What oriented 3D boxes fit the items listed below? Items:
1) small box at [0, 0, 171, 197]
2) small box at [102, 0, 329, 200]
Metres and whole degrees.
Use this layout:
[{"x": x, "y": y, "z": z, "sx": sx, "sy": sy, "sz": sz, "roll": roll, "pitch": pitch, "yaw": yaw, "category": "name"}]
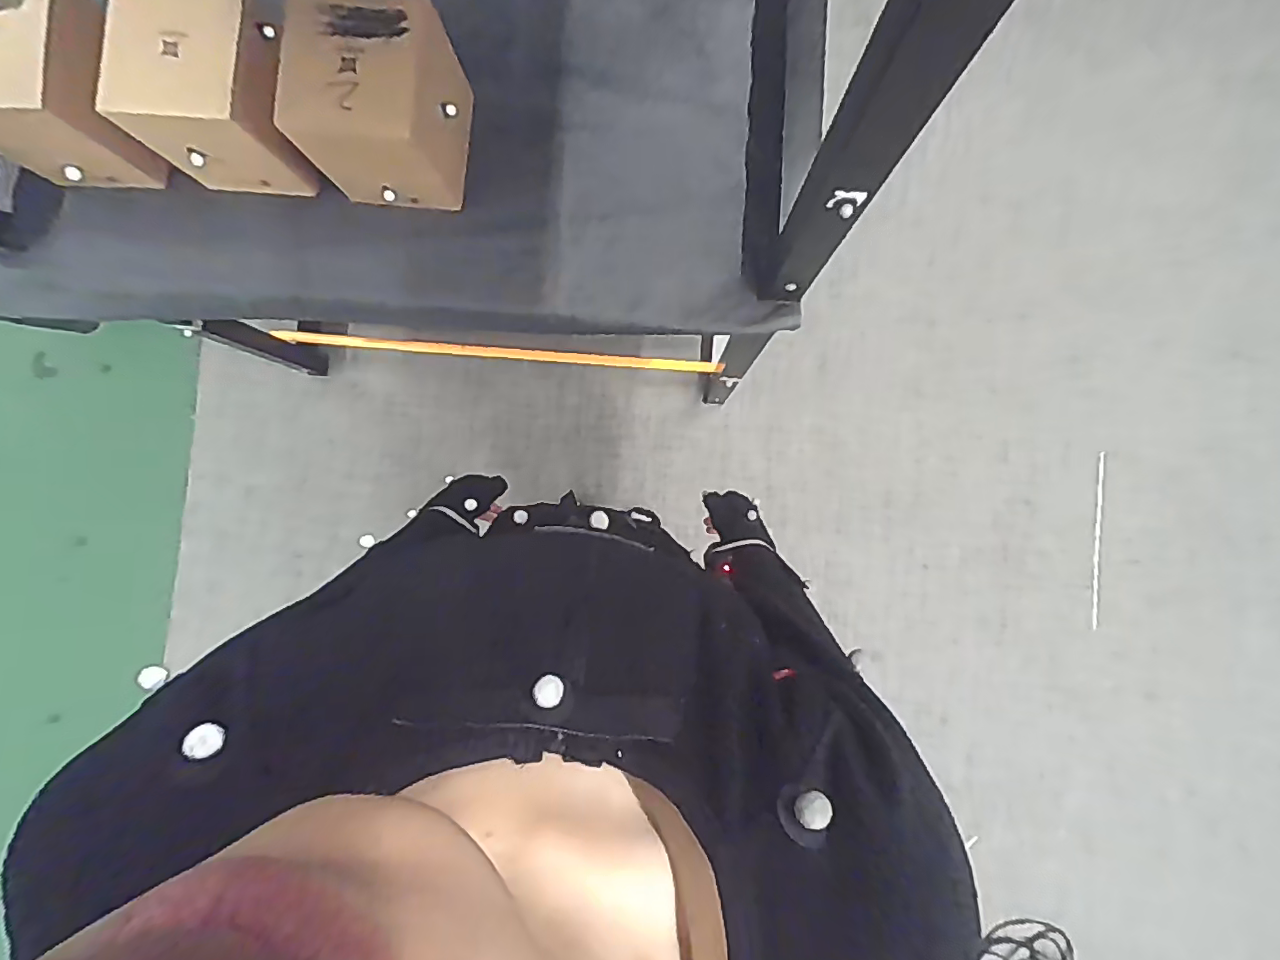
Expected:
[{"x": -0.771, "y": -0.513, "z": 0.723, "sx": 0.168, "sy": 0.176, "sz": 0.179, "roll": 2, "pitch": 88, "yaw": 2, "category": "small box"}, {"x": -0.545, "y": -0.502, "z": 0.719, "sx": 0.168, "sy": 0.176, "sz": 0.179, "roll": 4, "pitch": 87, "yaw": 2, "category": "small box"}]
